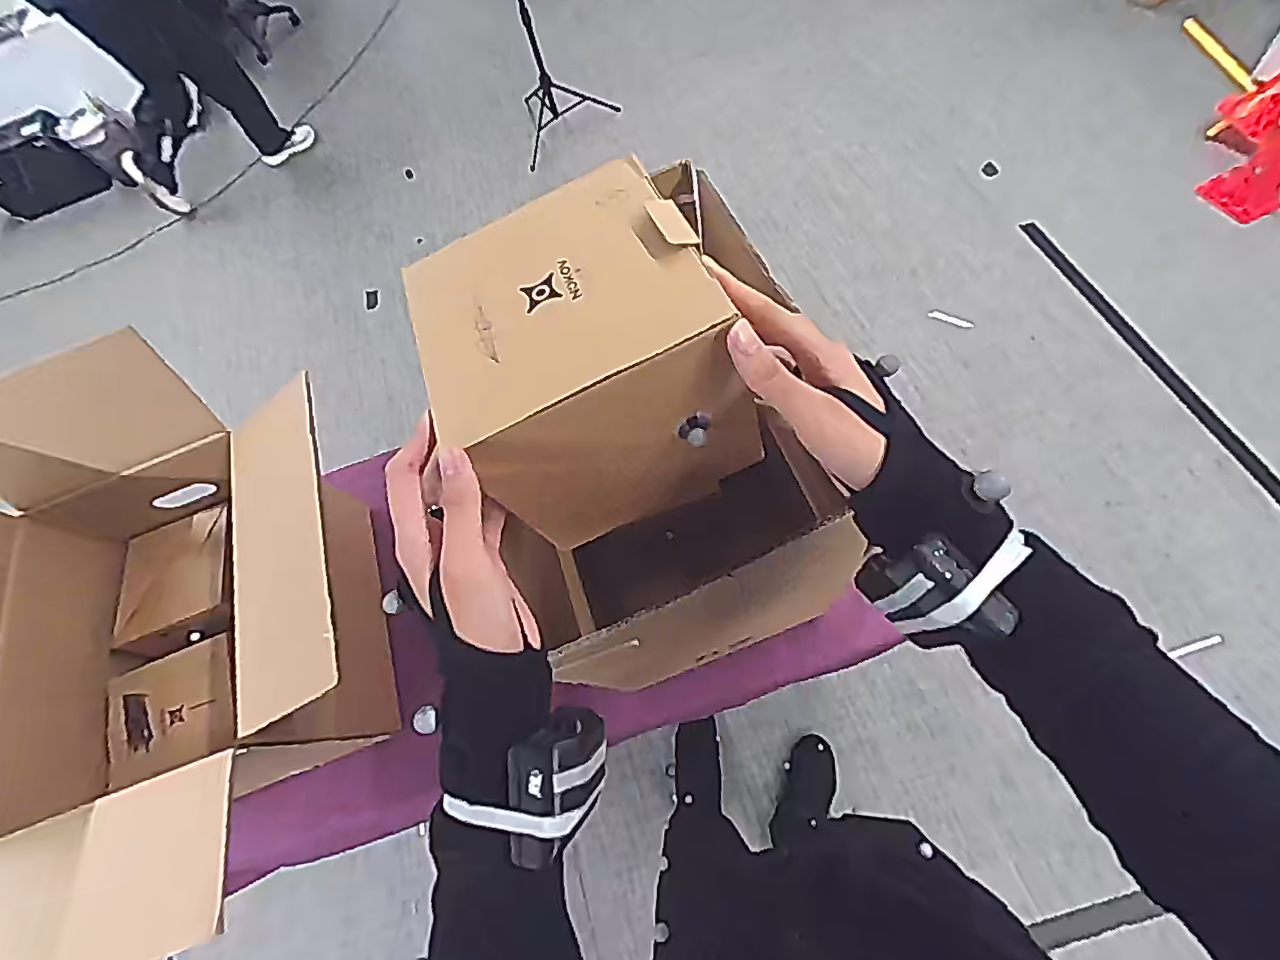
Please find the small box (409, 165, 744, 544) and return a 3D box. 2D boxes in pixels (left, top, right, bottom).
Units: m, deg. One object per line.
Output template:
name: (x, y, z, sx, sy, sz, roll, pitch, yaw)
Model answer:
small box: (-0.034, -0.077, 0.399, 0.179, 0.176, 0.168, -26, 60, 5)
